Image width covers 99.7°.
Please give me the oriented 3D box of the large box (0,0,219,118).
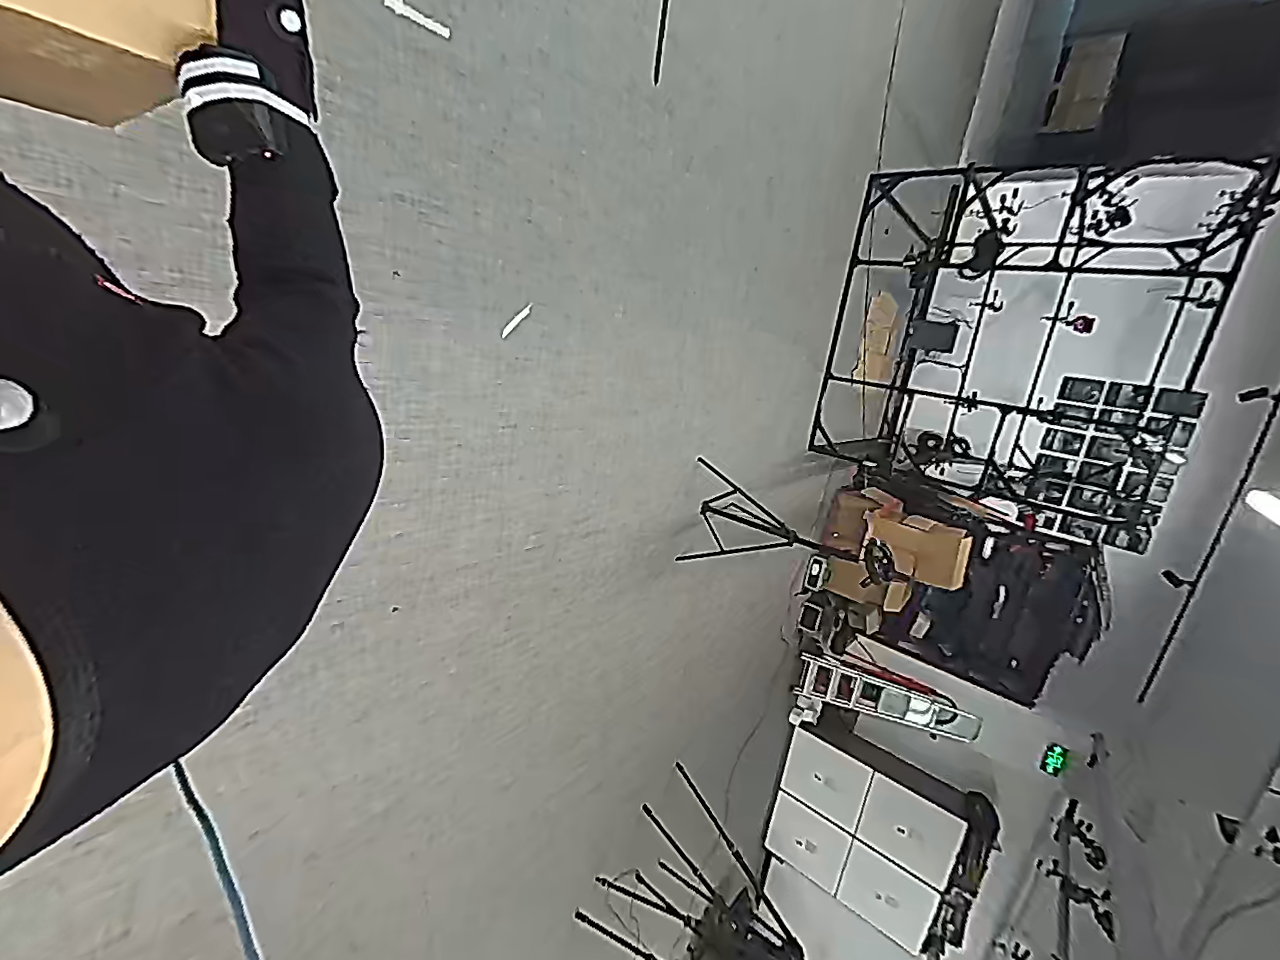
[{"bbox_3d":[-0.536,-0.458,0.291,0.408,0.320,0.320,-13,115,-53],"label":"large box"}]
